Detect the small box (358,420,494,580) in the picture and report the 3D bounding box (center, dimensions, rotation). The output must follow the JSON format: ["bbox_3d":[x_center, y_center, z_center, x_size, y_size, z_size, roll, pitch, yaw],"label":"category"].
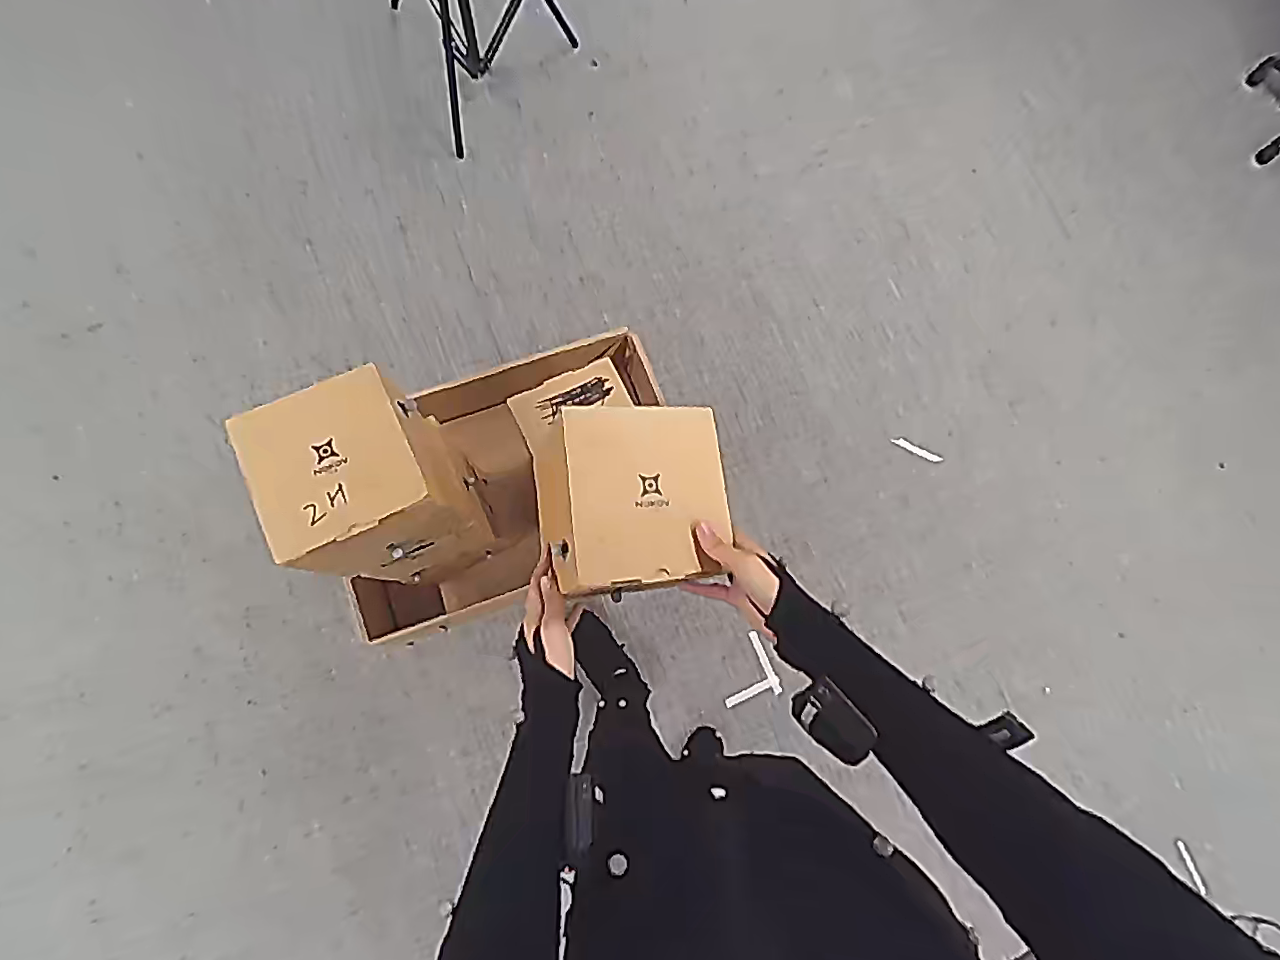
[{"bbox_3d":[-0.335,0.039,0.810,0.168,0.176,0.179,-23,79,-10],"label":"small box"}]

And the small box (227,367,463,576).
[{"bbox_3d":[-0.336,0.000,0.649,0.168,0.176,0.179,-25,80,-10],"label":"small box"}]

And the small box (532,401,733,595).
[{"bbox_3d":[-0.021,0.025,0.596,0.168,0.176,0.179,-4,77,-20],"label":"small box"}]
